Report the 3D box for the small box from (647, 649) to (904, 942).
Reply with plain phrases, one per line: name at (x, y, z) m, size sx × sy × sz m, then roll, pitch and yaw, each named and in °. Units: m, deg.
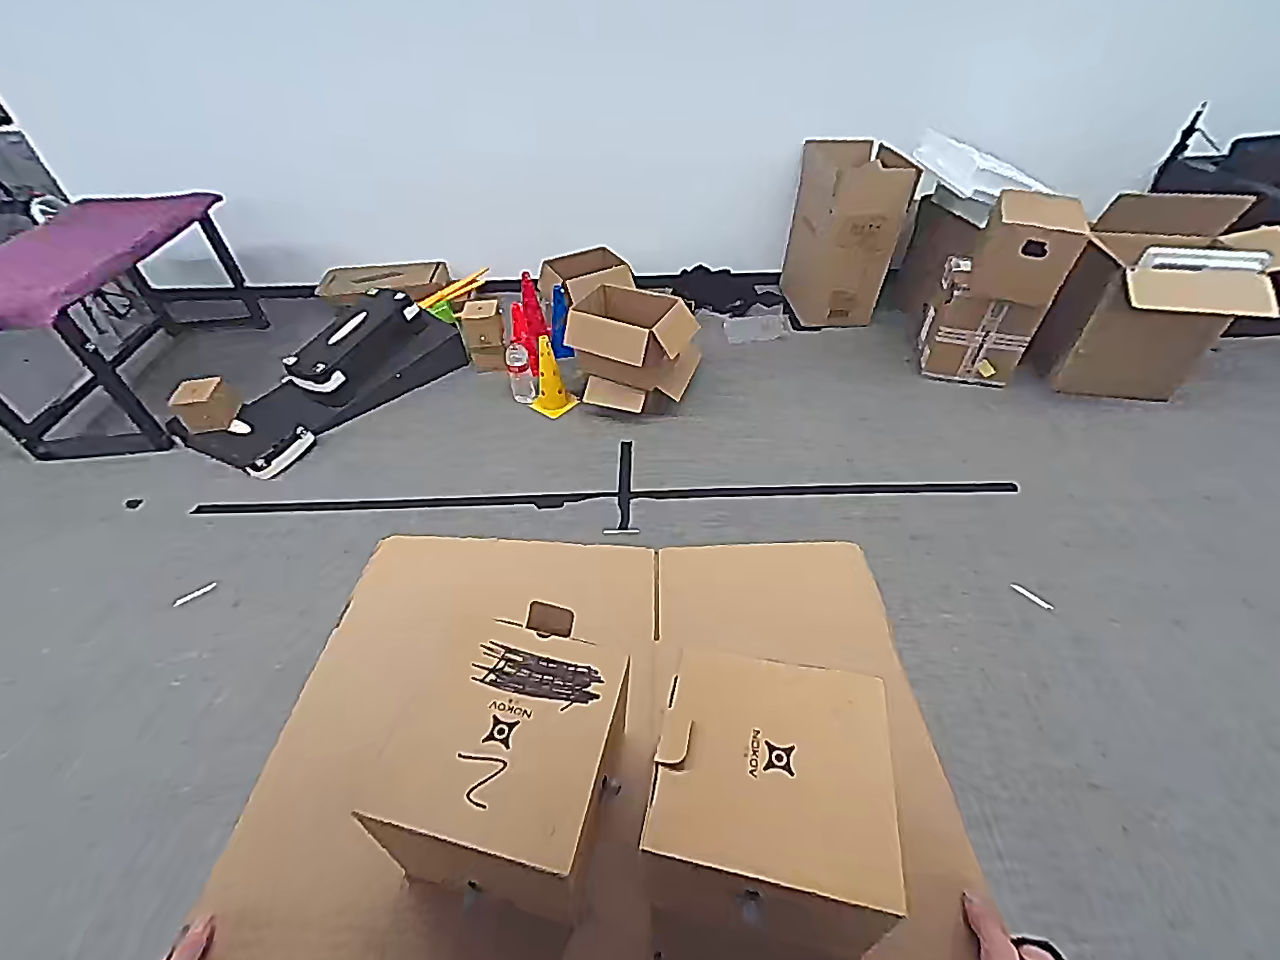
small box at (0.115, 0.278, 0.480) m, size 0.179 × 0.176 × 0.168 m, roll 4°, pitch 42°, yaw 14°
